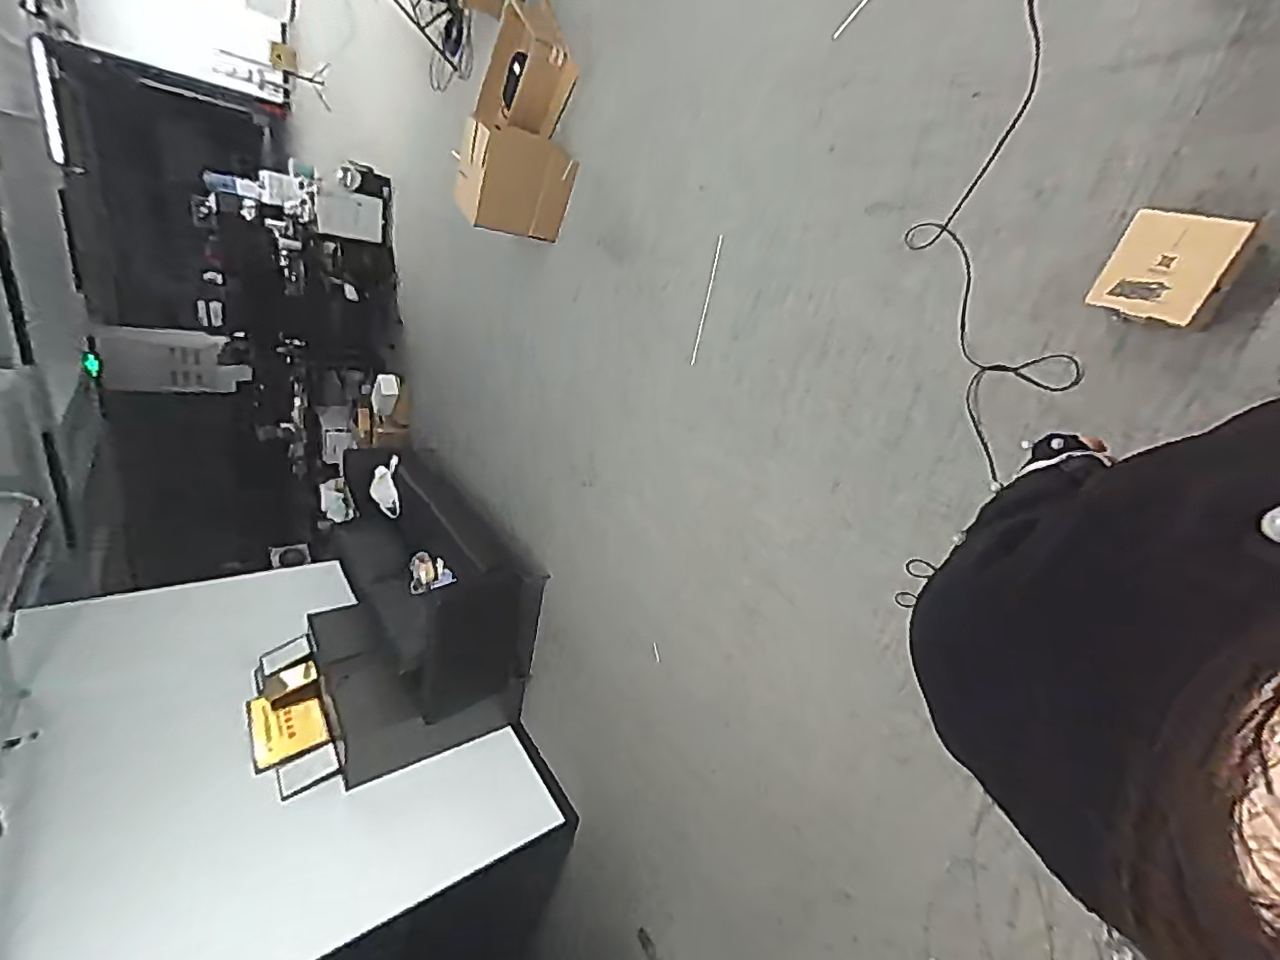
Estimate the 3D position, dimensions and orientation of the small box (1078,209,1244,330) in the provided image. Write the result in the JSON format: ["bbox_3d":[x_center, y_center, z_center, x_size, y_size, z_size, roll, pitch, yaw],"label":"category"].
[{"bbox_3d":[1.006,-0.399,1.043,0.168,0.176,0.179,39,123,41],"label":"small box"}]
